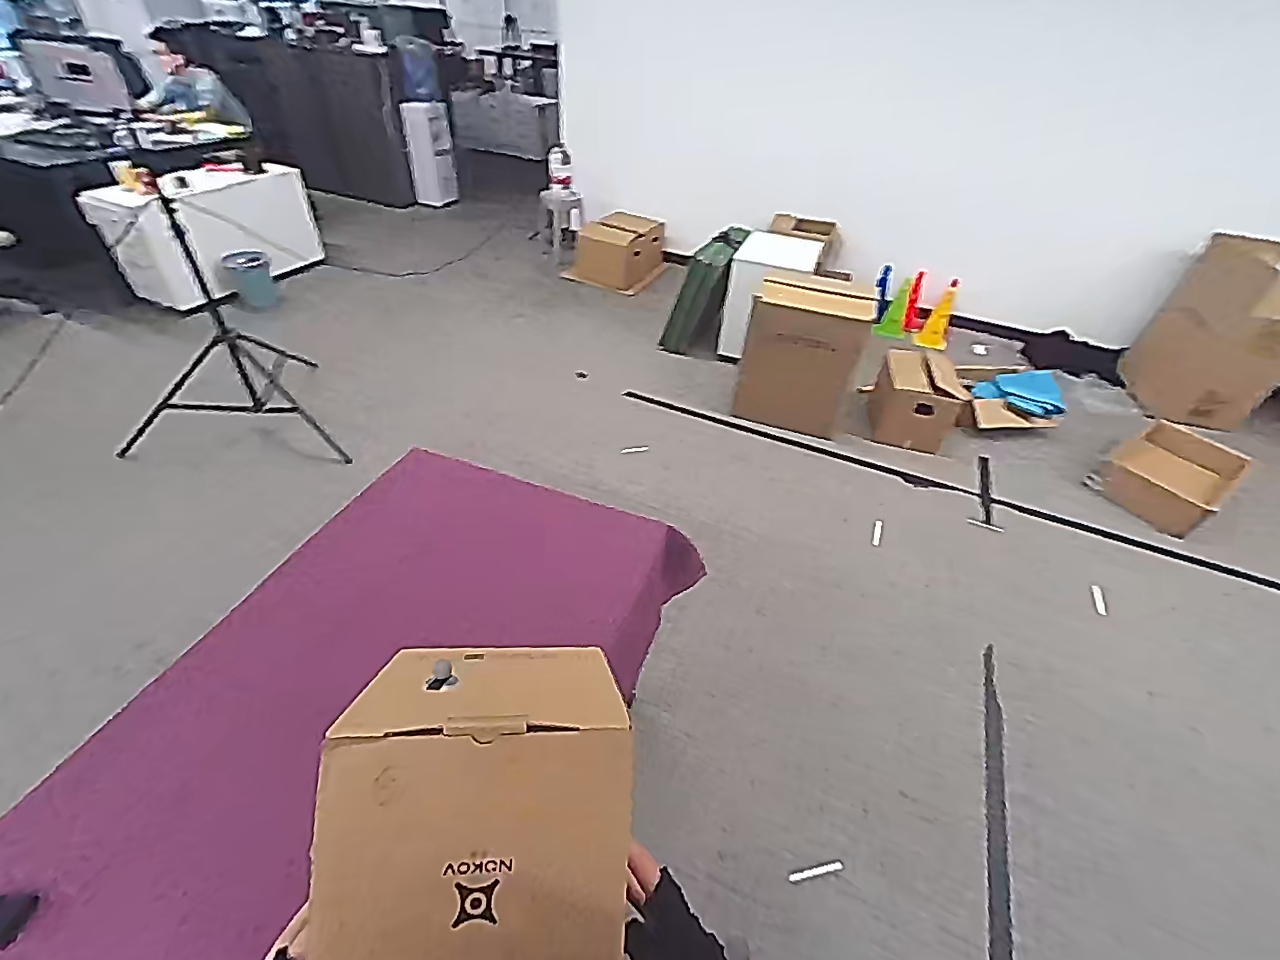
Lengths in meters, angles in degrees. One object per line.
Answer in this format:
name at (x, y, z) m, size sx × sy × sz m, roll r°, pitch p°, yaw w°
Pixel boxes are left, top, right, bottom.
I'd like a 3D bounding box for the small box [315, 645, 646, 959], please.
small box at (-0.095, 0.217, 0.366) m, size 0.168 × 0.179 × 0.176 m, roll 4°, pitch -3°, yaw -9°
